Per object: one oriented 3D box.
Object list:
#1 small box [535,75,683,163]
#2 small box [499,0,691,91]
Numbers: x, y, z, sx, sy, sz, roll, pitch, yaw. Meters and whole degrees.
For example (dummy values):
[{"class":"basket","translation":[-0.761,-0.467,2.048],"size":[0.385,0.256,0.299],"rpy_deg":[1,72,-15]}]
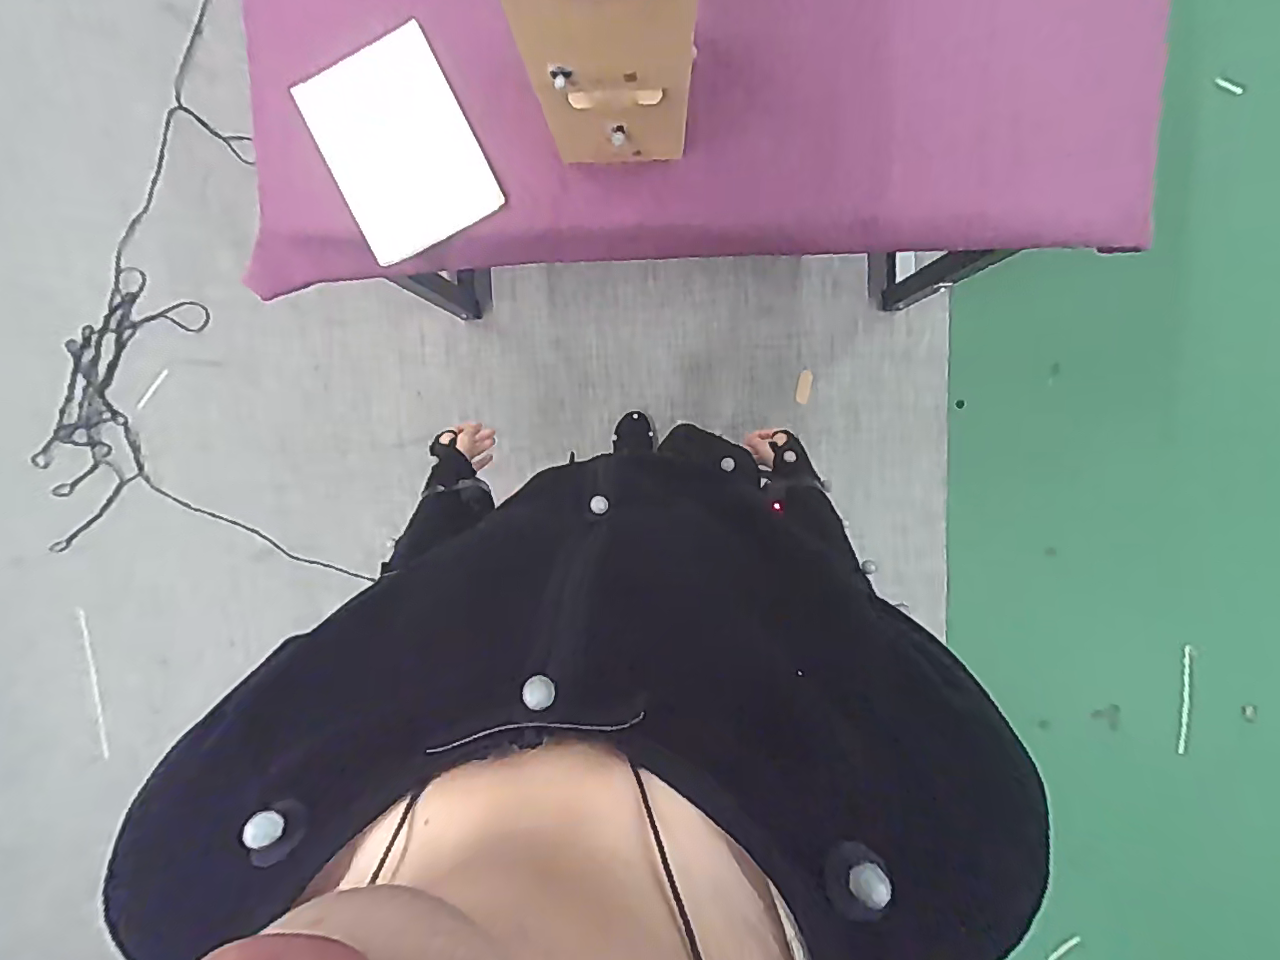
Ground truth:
[{"class":"small box","translation":[-0.031,-0.509,0.655],"size":[0.168,0.176,0.179],"rpy_deg":[-1,95,1]},{"class":"small box","translation":[-0.036,-0.489,0.491],"size":[0.168,0.176,0.179],"rpy_deg":[0,93,2]}]
